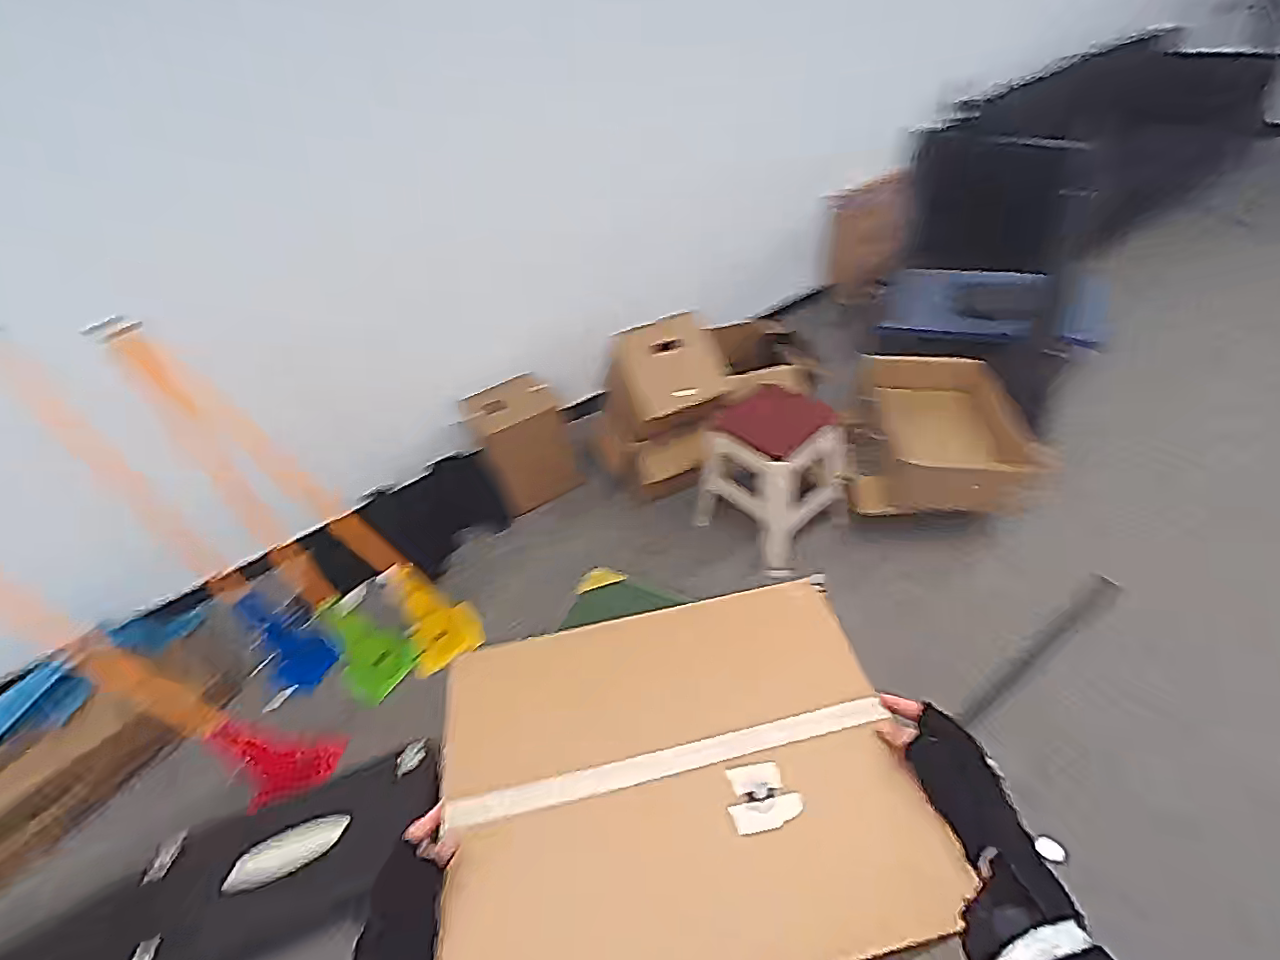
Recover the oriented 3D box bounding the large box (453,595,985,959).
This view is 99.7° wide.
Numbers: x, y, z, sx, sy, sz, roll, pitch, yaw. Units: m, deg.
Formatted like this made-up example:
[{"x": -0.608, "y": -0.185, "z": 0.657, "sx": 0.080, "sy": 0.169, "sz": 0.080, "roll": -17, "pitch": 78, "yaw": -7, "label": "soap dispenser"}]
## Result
[{"x": 0.045, "y": 0.375, "z": 0.588, "sx": 0.408, "sy": 0.320, "sz": 0.320, "roll": -10, "pitch": 43, "yaw": -5, "label": "large box"}]
